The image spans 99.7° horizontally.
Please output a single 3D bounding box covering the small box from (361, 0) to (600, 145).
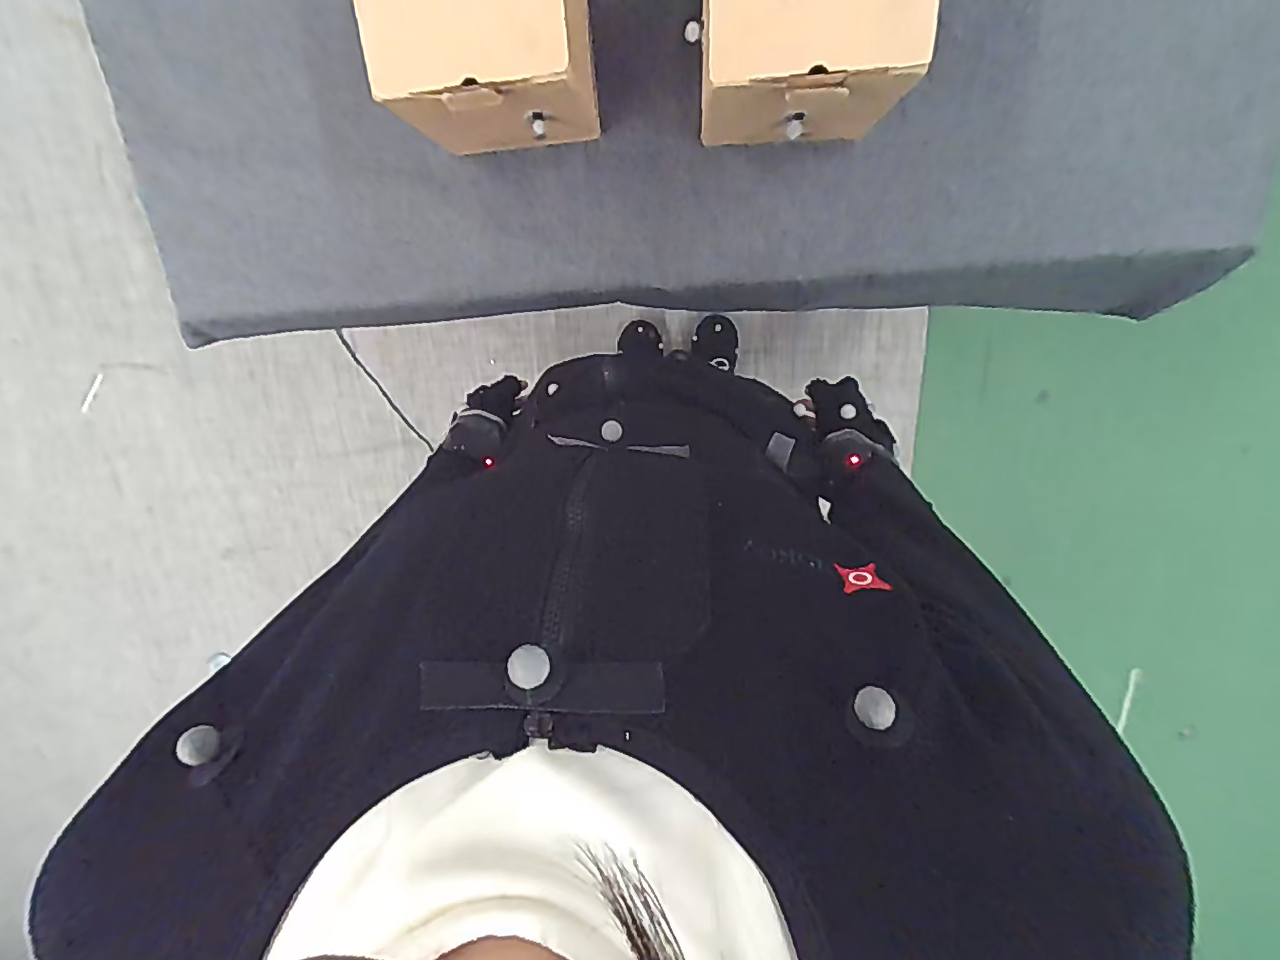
[{"bbox_3d":[-0.134,-0.423,0.486,0.168,0.176,0.179,-4,106,5],"label":"small box"}]
